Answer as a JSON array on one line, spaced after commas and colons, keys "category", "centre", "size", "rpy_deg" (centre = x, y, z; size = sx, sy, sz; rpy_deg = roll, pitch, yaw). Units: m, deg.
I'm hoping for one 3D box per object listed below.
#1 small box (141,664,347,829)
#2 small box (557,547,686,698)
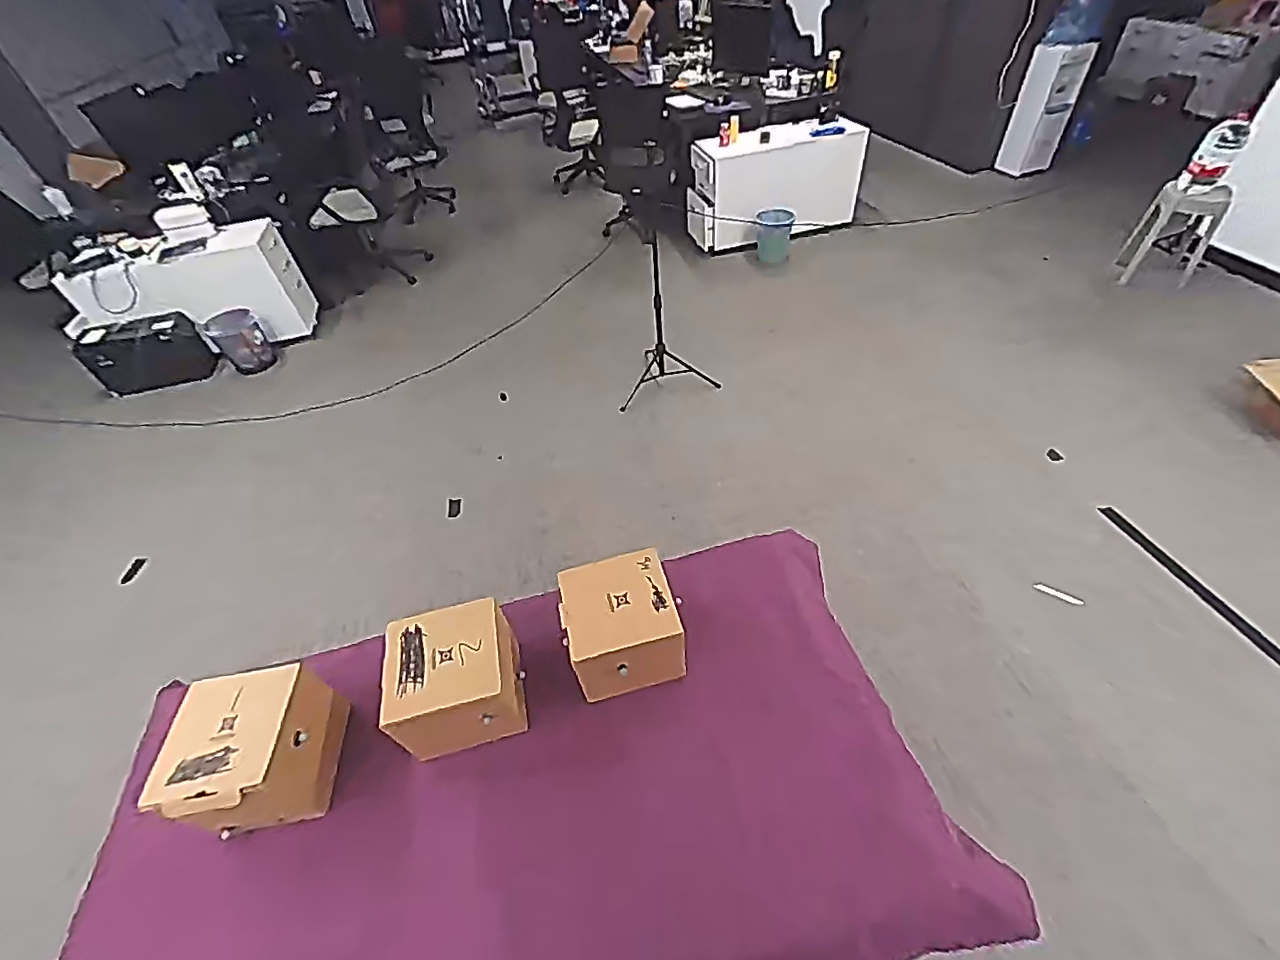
[{"category": "small box", "centre": [-0.577, 0.409, 0.822], "size": [0.168, 0.176, 0.179], "rpy_deg": [-9, 46, -3]}, {"category": "small box", "centre": [-0.029, 0.243, 0.911], "size": [0.179, 0.176, 0.168], "rpy_deg": [-14, 49, -5]}]
